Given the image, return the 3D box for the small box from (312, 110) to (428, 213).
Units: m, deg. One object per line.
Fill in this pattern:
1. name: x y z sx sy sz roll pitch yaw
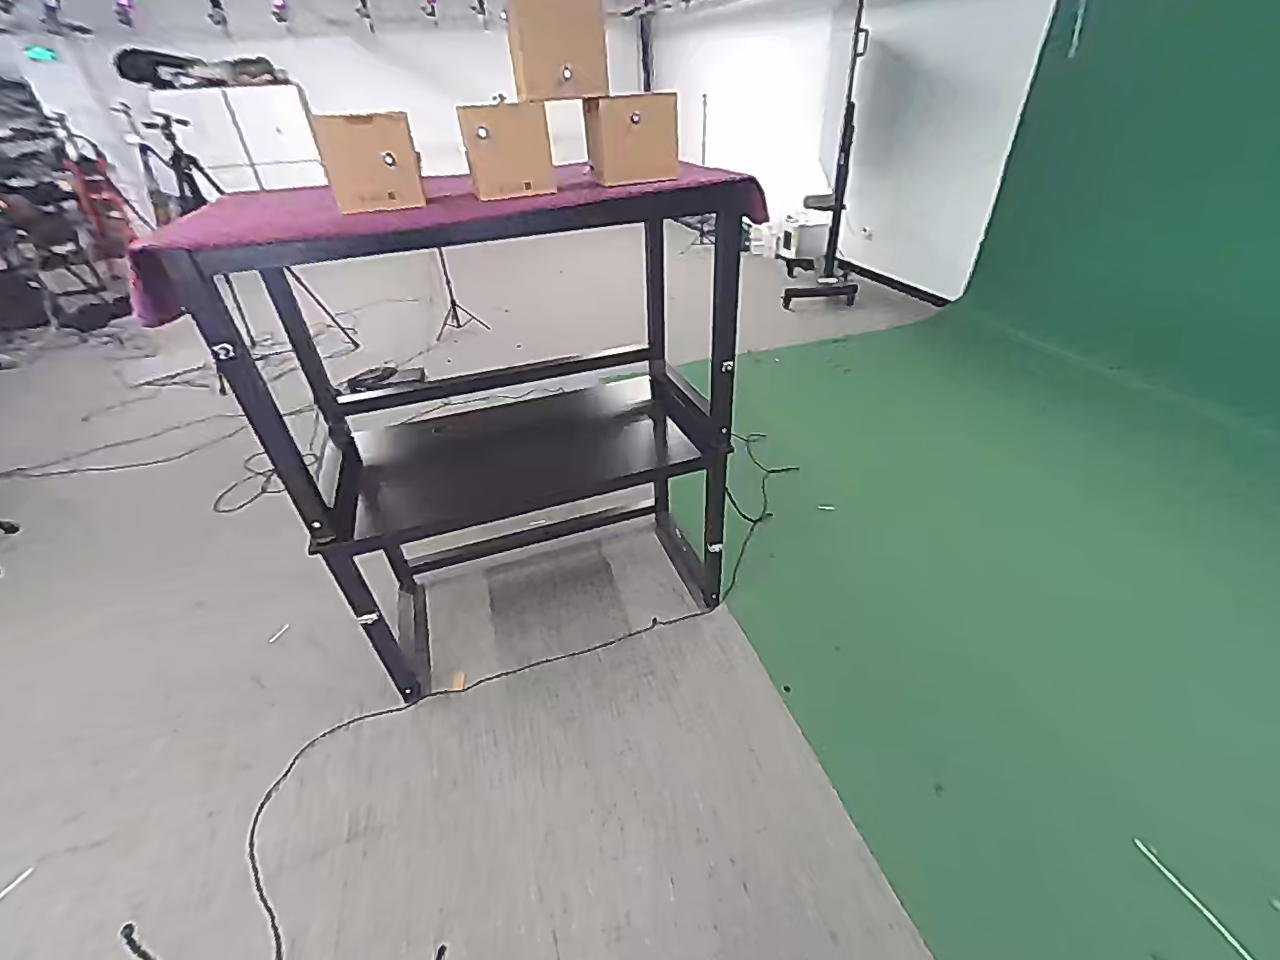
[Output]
1. small box: -0.544 -0.655 1.116 0.168 0.176 0.179 -11 36 -13

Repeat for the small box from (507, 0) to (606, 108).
1. small box: -0.170 -0.880 1.121 0.179 0.176 0.168 -12 36 -13

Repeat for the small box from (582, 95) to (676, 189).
1. small box: -0.023 -0.779 1.251 0.179 0.176 0.168 -13 37 -14
